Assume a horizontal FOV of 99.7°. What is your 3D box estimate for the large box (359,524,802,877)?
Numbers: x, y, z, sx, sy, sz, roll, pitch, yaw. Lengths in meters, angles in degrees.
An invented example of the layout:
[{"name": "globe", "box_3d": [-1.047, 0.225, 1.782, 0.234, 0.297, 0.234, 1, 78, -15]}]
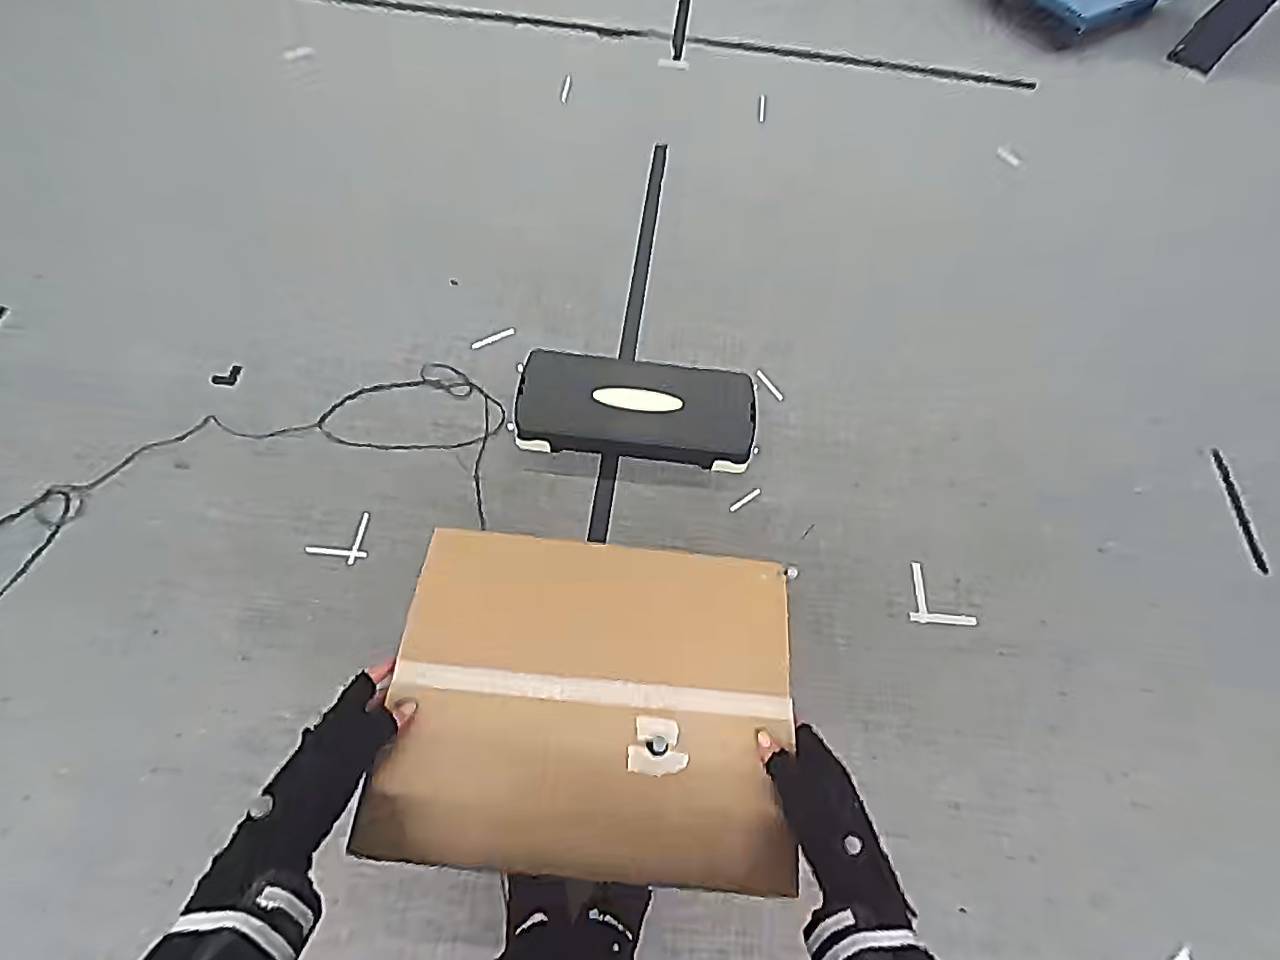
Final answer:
[{"name": "large box", "box_3d": [-0.053, 0.271, 0.678, 0.408, 0.320, 0.320, 7, 63, -2]}]
